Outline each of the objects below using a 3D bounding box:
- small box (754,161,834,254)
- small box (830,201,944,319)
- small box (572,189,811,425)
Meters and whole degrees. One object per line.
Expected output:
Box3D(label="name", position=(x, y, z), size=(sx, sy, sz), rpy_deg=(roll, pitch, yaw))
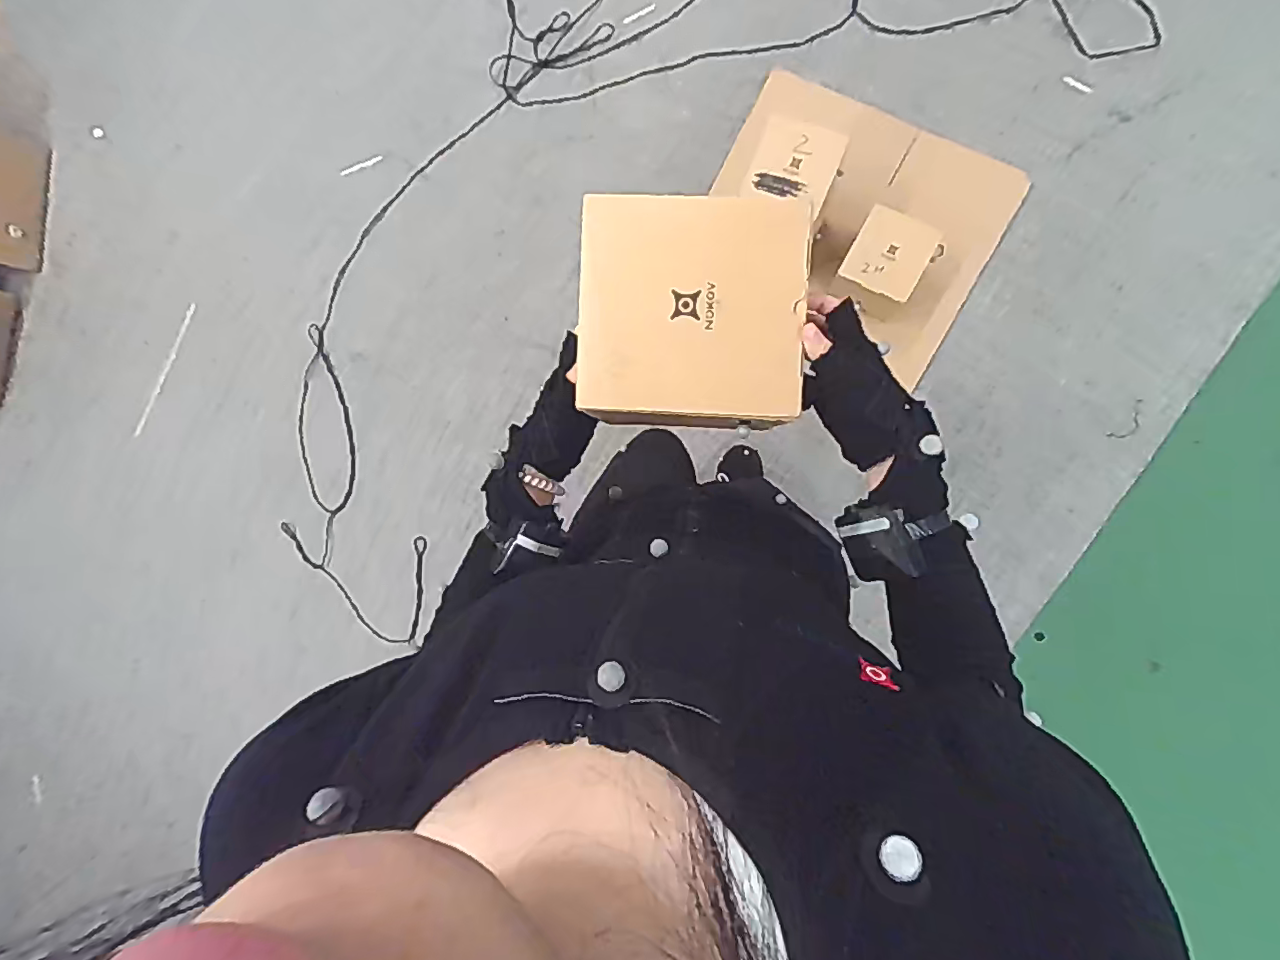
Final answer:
Box3D(label="small box", position=(0.344, -0.619, 1.304), size=(0.168, 0.176, 0.179), rpy_deg=(25, 96, 8))
Box3D(label="small box", position=(0.567, -0.508, 1.273), size=(0.168, 0.176, 0.179), rpy_deg=(29, 98, 9))
Box3D(label="small box", position=(0.042, -0.139, 0.491), size=(0.179, 0.176, 0.168), rpy_deg=(2, 93, 3))
